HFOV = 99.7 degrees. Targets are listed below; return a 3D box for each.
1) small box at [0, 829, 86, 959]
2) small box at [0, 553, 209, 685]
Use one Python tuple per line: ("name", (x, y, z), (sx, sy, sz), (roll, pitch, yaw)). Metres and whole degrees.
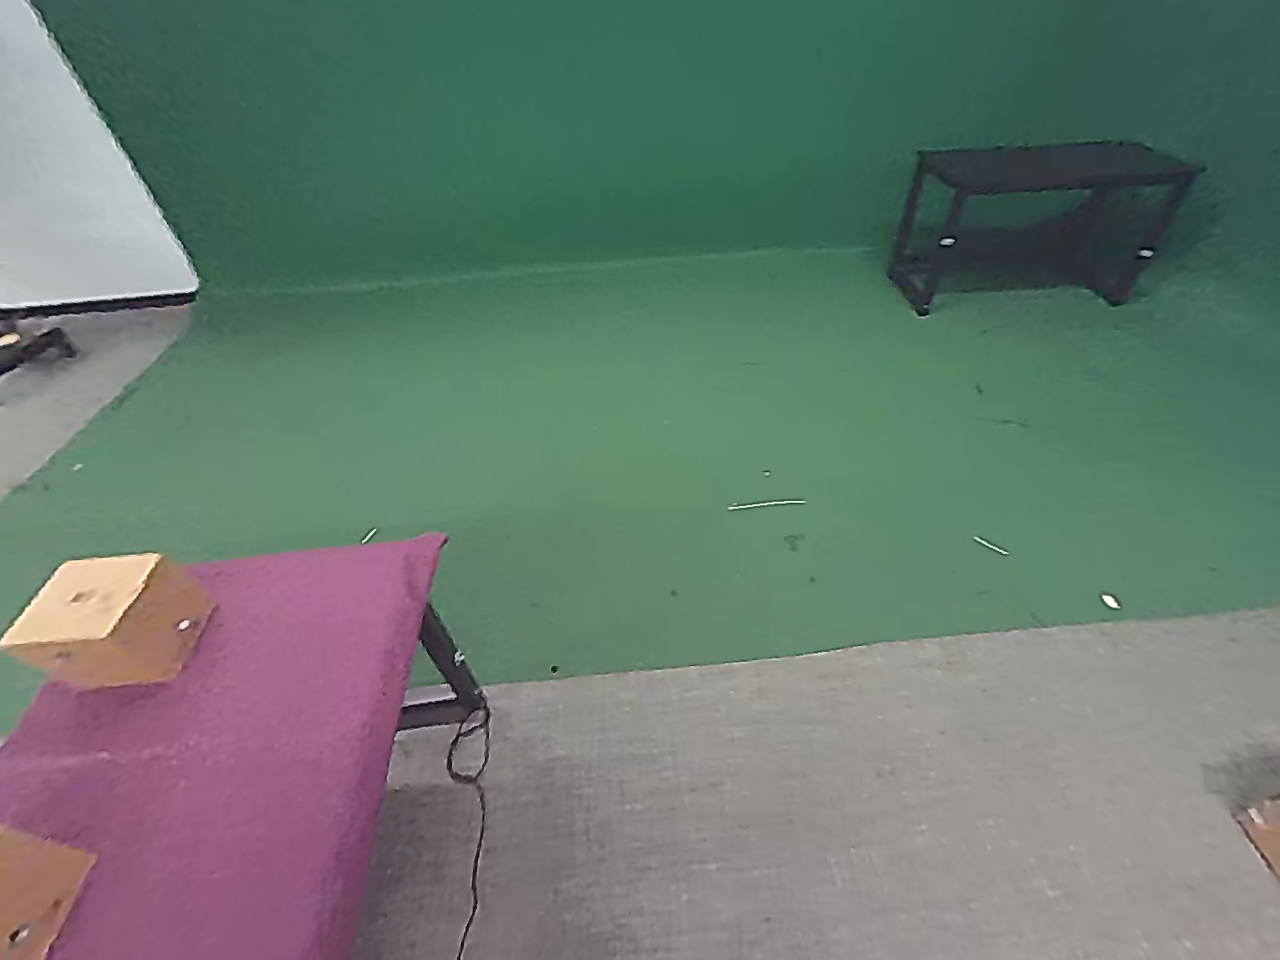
("small box", (-0.872, 0.551, 0.662), (0.179, 0.176, 0.168), (-5, 44, -3))
("small box", (-0.936, 0.251, 0.963), (0.179, 0.176, 0.168), (-4, 47, -2))
